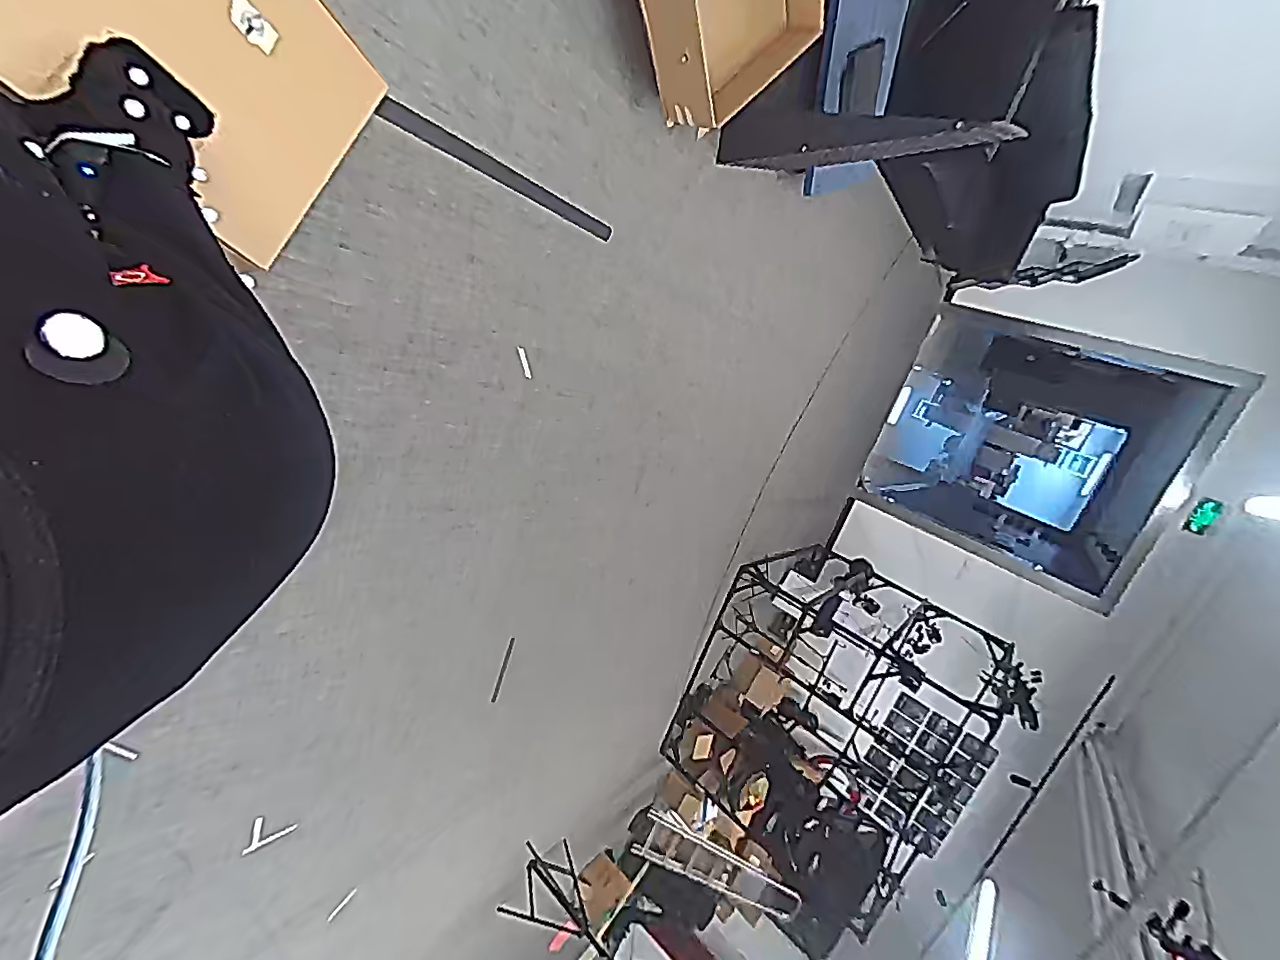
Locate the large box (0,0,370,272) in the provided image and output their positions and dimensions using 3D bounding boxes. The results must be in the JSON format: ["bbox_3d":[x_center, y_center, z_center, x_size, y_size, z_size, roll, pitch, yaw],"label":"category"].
[{"bbox_3d":[-0.629,-0.486,0.665,0.320,0.408,0.320,44,65,-54],"label":"large box"}]
